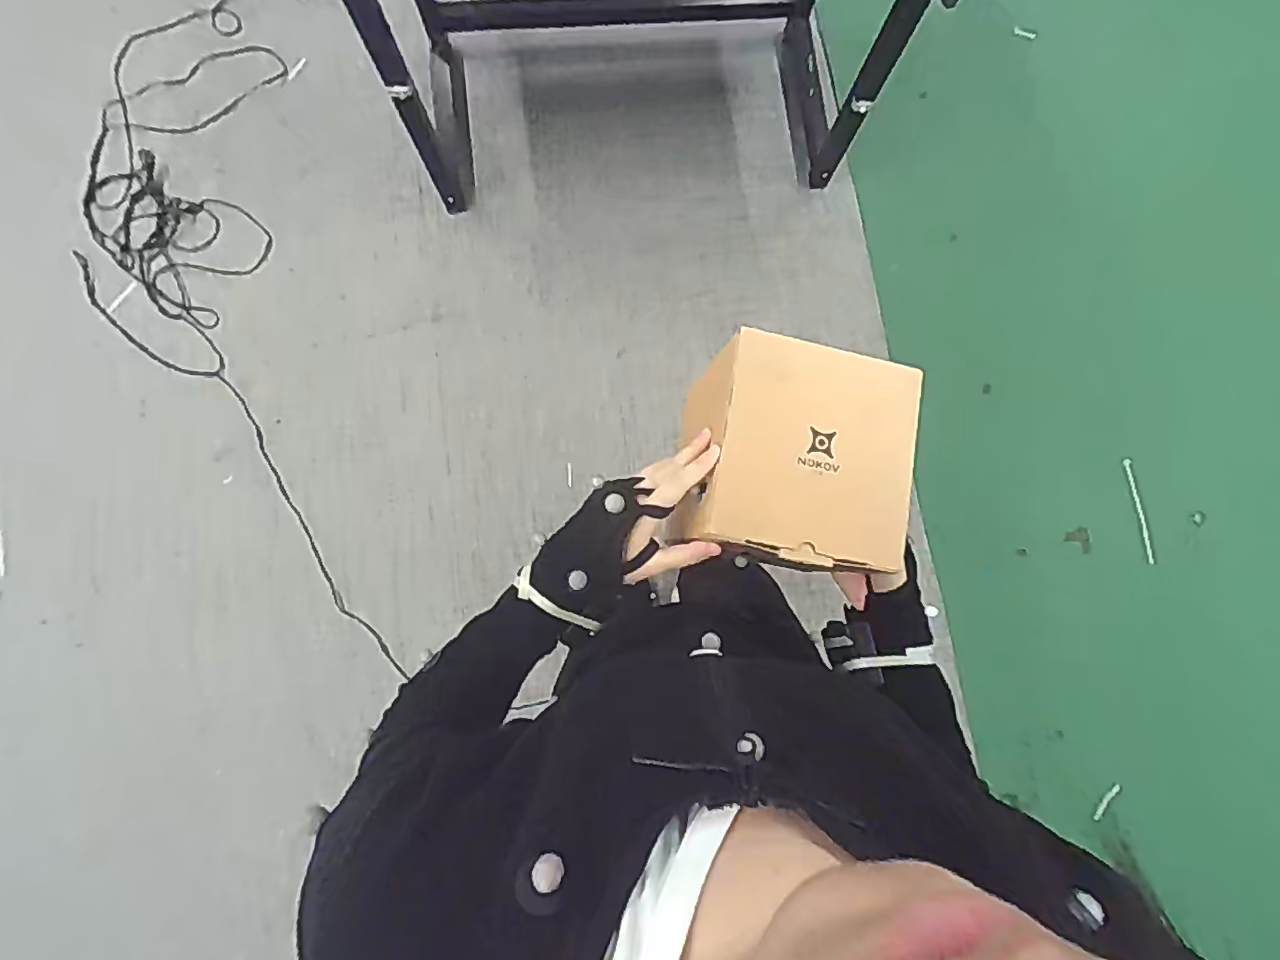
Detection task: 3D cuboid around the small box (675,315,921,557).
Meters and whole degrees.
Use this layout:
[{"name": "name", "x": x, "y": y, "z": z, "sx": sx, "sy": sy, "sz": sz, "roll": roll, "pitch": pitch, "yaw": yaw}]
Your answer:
[{"name": "small box", "x": 0.138, "y": -0.026, "z": 0.522, "sx": 0.168, "sy": 0.176, "sz": 0.179, "roll": 11, "pitch": 80, "yaw": -8}]
